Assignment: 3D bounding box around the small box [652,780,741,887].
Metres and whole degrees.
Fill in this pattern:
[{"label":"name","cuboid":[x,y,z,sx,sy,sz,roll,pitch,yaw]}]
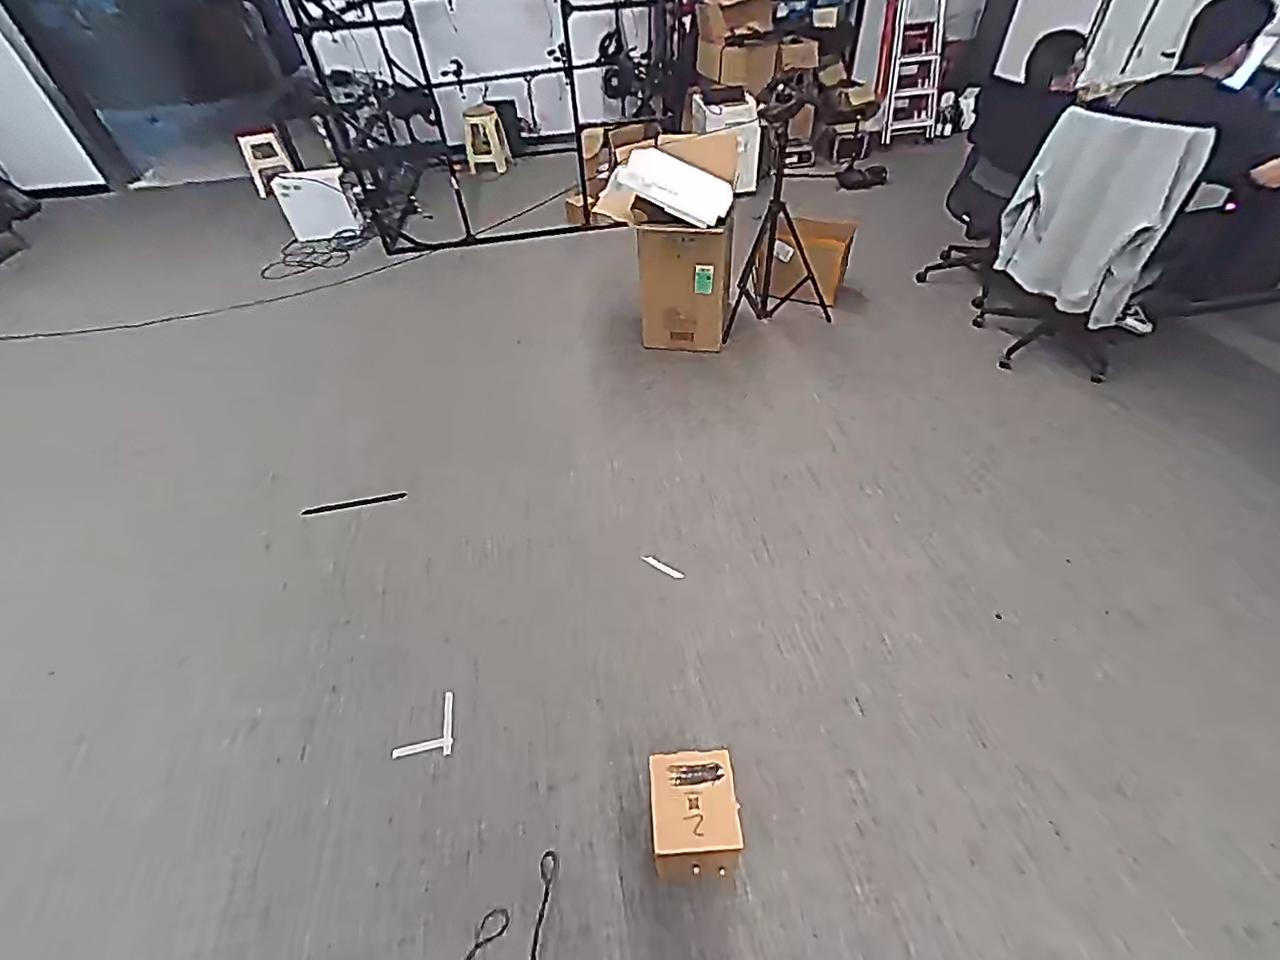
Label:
[{"label":"small box","cuboid":[0.125,0.801,1.222,0.179,0.176,0.168,-5,44,0]}]
